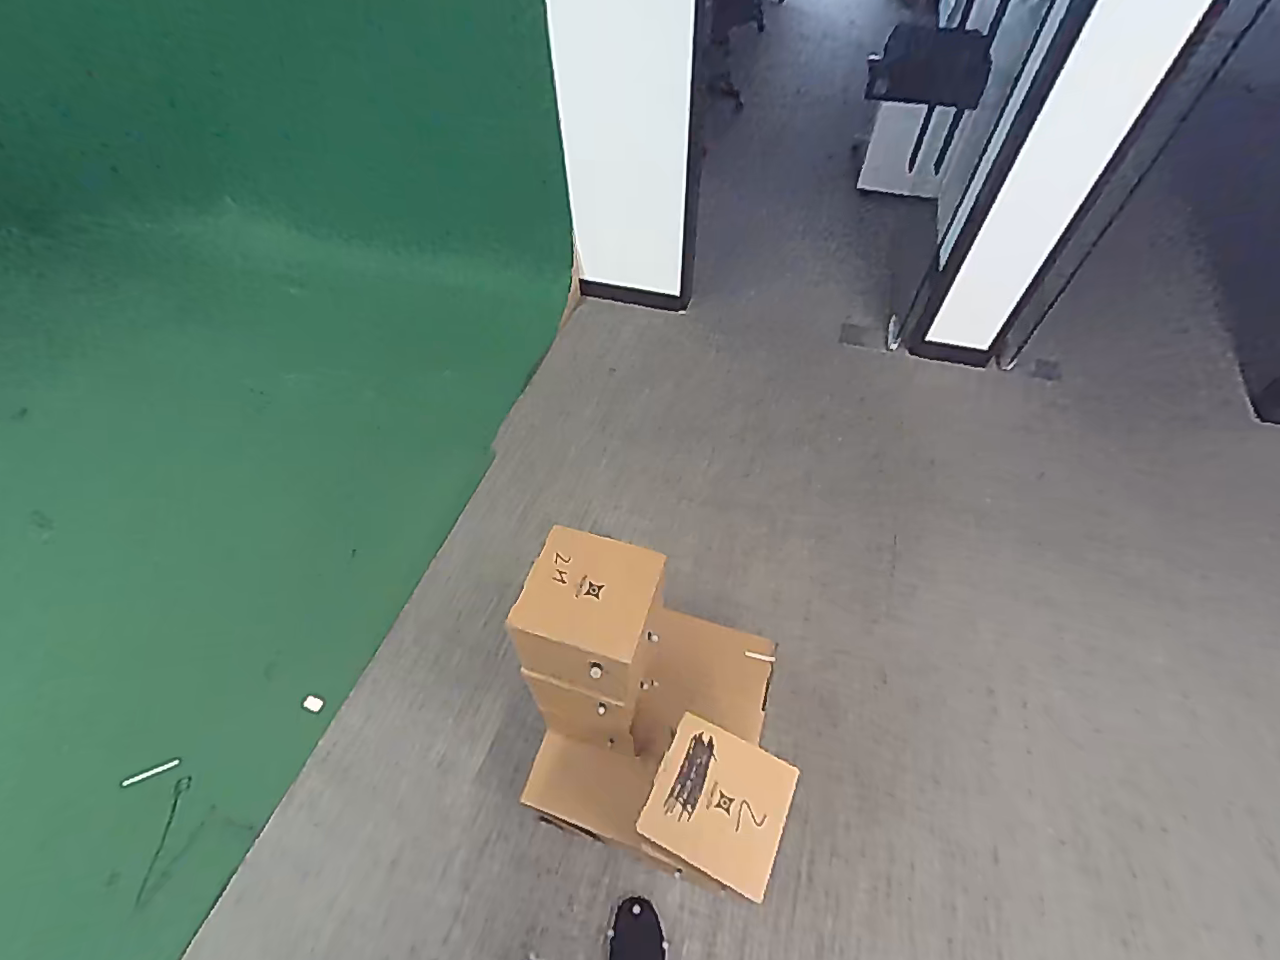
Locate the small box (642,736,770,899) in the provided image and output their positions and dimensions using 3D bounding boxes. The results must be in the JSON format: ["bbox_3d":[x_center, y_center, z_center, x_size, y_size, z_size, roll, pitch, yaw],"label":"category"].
[{"bbox_3d":[0.106,0.571,0.915,0.168,0.176,0.179,18,54,13],"label":"small box"}]

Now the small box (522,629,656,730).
[{"bbox_3d":[-0.078,0.304,0.921,0.179,0.176,0.168,14,52,10],"label":"small box"}]

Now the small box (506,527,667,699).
[{"bbox_3d":[-0.068,0.200,0.793,0.179,0.176,0.168,14,52,12],"label":"small box"}]

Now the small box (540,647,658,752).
[{"bbox_3d":[-0.071,0.408,1.046,0.179,0.176,0.168,12,52,11],"label":"small box"}]
